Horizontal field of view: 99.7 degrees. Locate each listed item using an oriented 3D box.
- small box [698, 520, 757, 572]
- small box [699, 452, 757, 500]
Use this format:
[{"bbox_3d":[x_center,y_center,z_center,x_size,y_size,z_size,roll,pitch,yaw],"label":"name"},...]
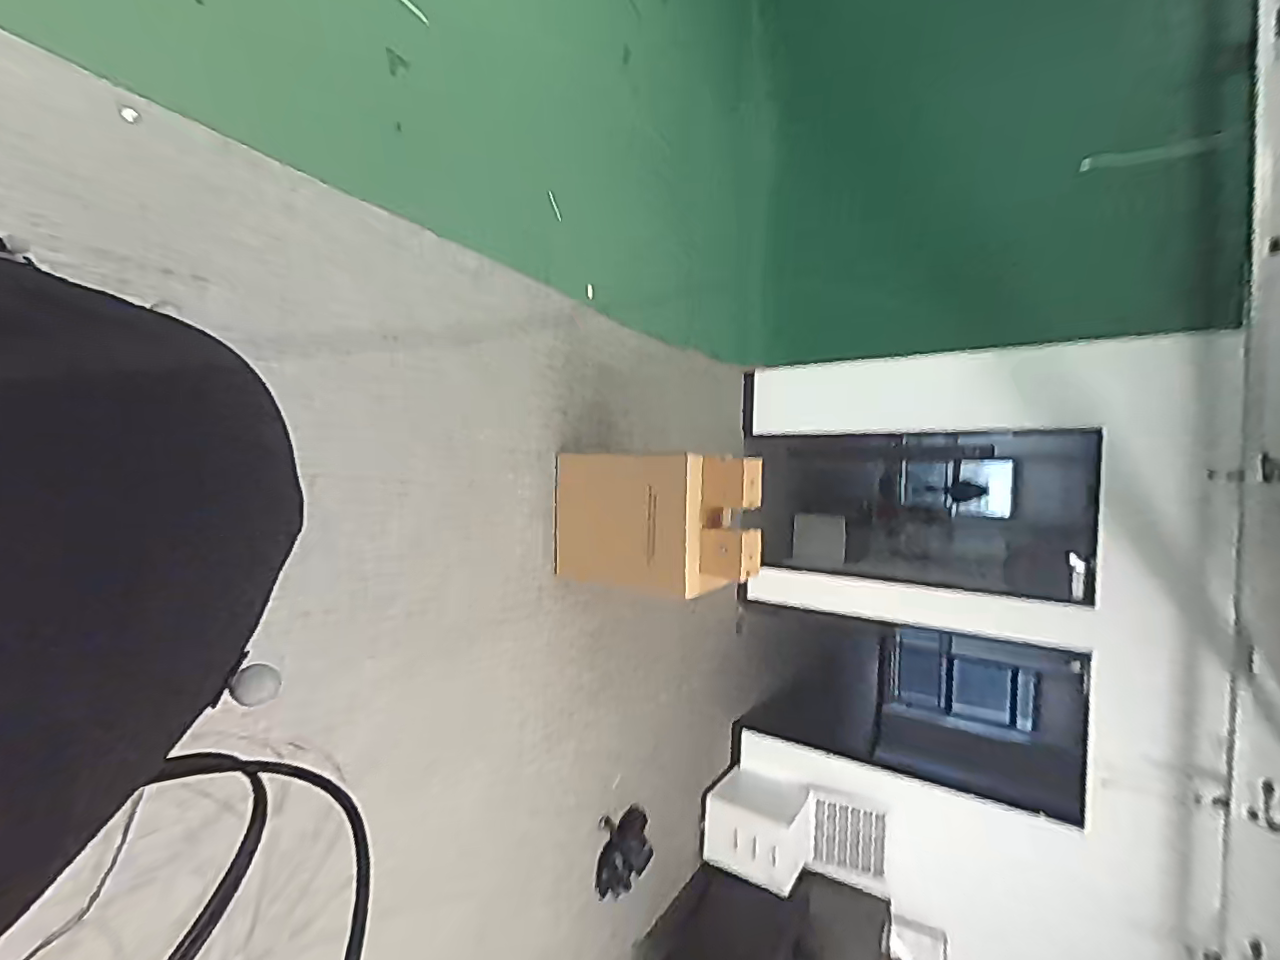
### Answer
[{"bbox_3d":[0.328,0.244,2.041,0.168,0.176,0.179,1,91,-54],"label":"small box"},{"bbox_3d":[0.330,-0.018,2.033,0.168,0.176,0.179,-4,94,-55],"label":"small box"}]
